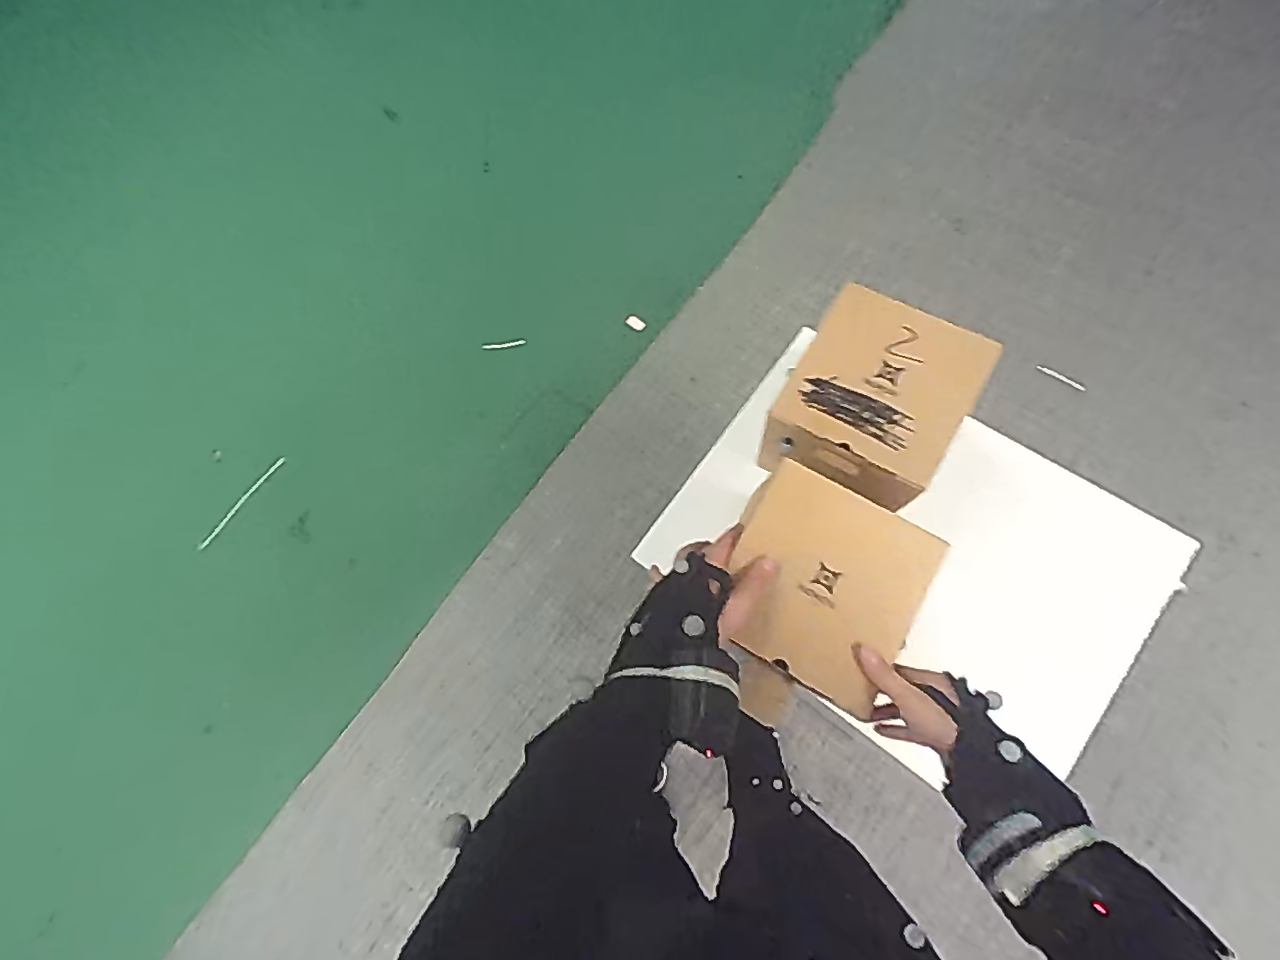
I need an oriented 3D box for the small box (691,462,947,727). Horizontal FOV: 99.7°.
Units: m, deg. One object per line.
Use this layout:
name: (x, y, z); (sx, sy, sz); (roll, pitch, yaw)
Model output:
small box: (0.162, 0.109, 0.552); (0.168, 0.176, 0.179); (30, 82, 7)
